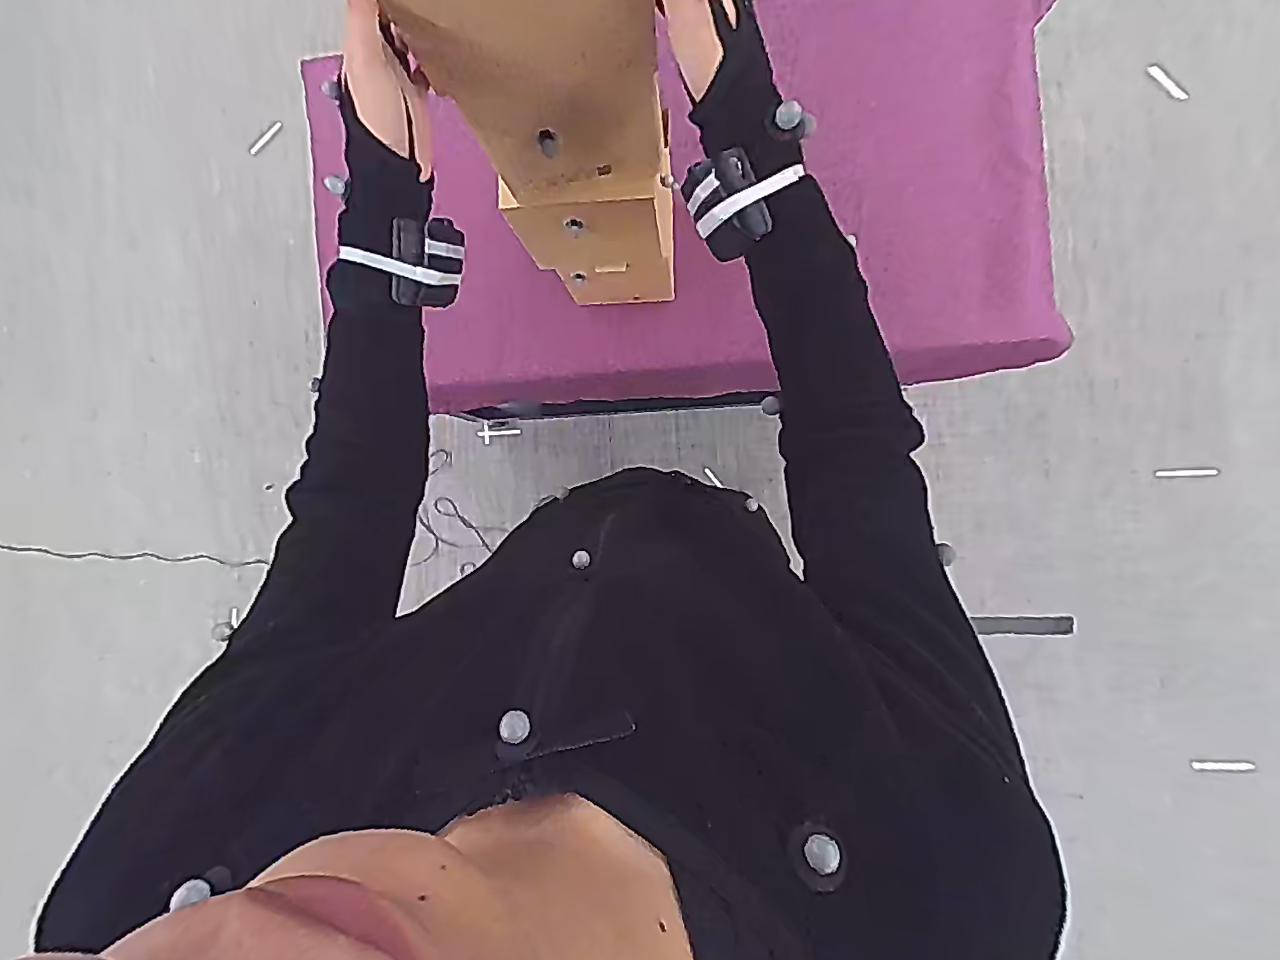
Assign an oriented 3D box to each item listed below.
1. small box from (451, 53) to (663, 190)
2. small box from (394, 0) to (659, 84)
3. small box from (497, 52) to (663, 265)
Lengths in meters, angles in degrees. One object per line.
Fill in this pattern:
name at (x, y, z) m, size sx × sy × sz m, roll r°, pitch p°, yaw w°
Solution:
small box at (-0.074, -0.401, 0.506) m, size 0.168 × 0.176 × 0.179 m, roll -9°, pitch 87°, yaw 5°
small box at (-0.082, -0.391, 0.341) m, size 0.179 × 0.176 × 0.168 m, roll -2°, pitch 88°, yaw 5°
small box at (-0.064, -0.380, 0.668) m, size 0.179 × 0.176 × 0.168 m, roll -1°, pitch 89°, yaw 5°
